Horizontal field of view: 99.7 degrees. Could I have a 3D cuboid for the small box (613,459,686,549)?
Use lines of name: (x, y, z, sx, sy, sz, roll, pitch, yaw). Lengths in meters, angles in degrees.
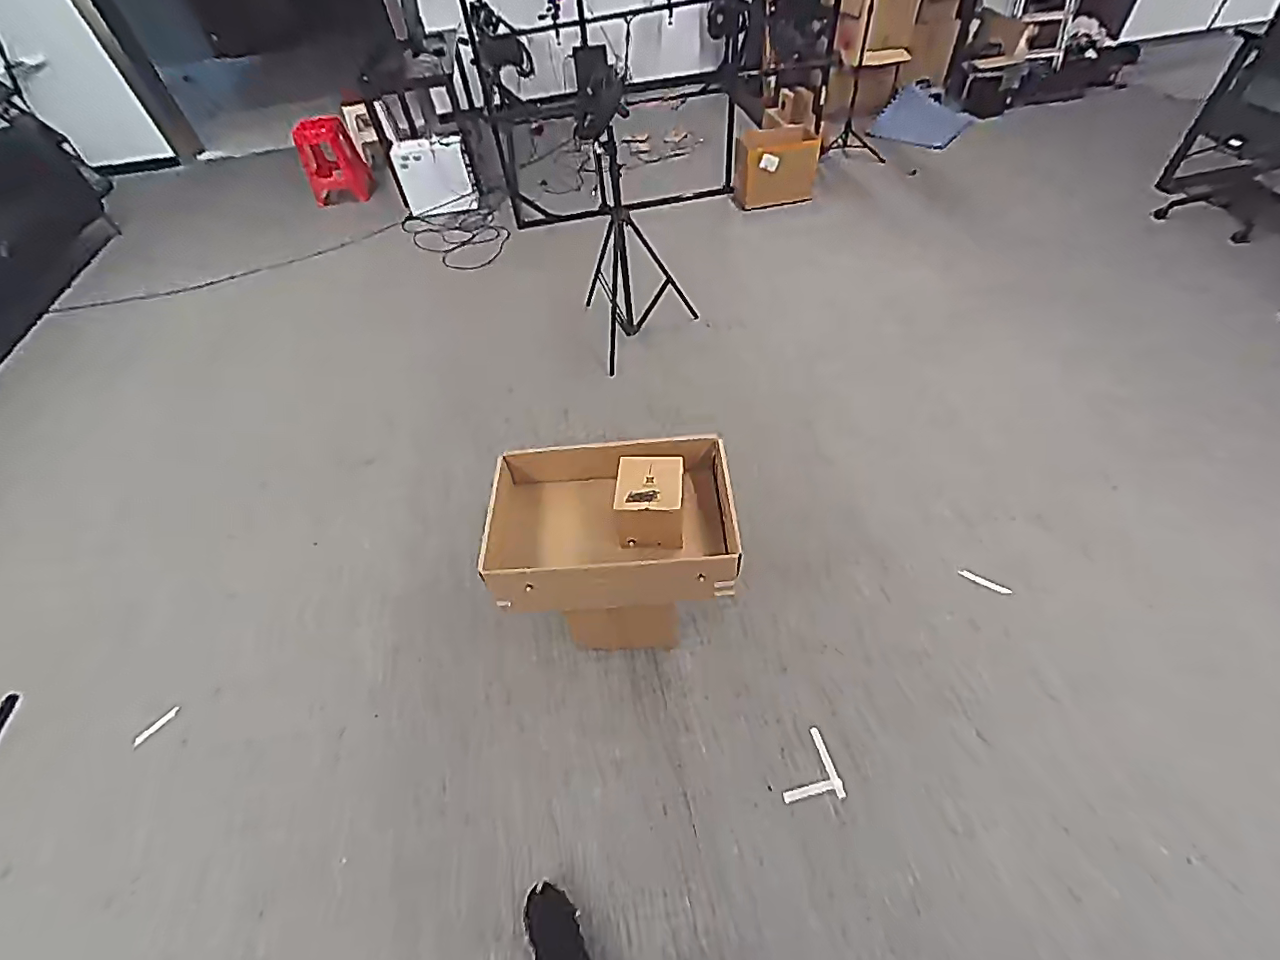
small box: (0.032, 0.064, 1.406, 0.168, 0.176, 0.179, 0, 49, 7)
